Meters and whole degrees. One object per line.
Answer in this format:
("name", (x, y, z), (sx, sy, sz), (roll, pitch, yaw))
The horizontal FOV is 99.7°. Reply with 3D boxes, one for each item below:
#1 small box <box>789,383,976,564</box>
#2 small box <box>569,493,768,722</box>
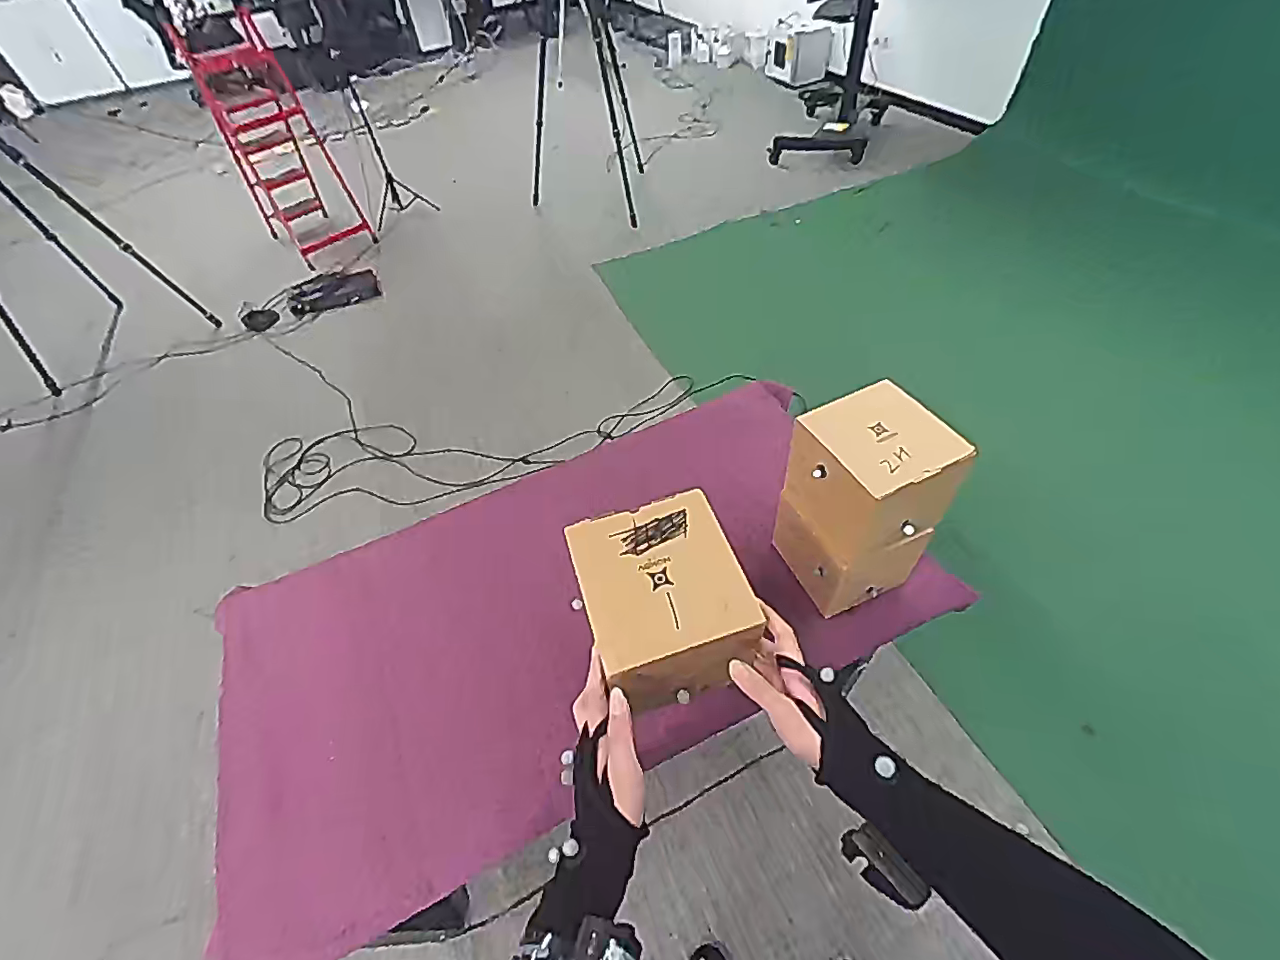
("small box", (0.342, -0.008, 0.806), (0.168, 0.176, 0.179), (-22, 52, -11))
("small box", (0.025, 0.147, 0.619), (0.168, 0.176, 0.179), (-16, 53, -8))
